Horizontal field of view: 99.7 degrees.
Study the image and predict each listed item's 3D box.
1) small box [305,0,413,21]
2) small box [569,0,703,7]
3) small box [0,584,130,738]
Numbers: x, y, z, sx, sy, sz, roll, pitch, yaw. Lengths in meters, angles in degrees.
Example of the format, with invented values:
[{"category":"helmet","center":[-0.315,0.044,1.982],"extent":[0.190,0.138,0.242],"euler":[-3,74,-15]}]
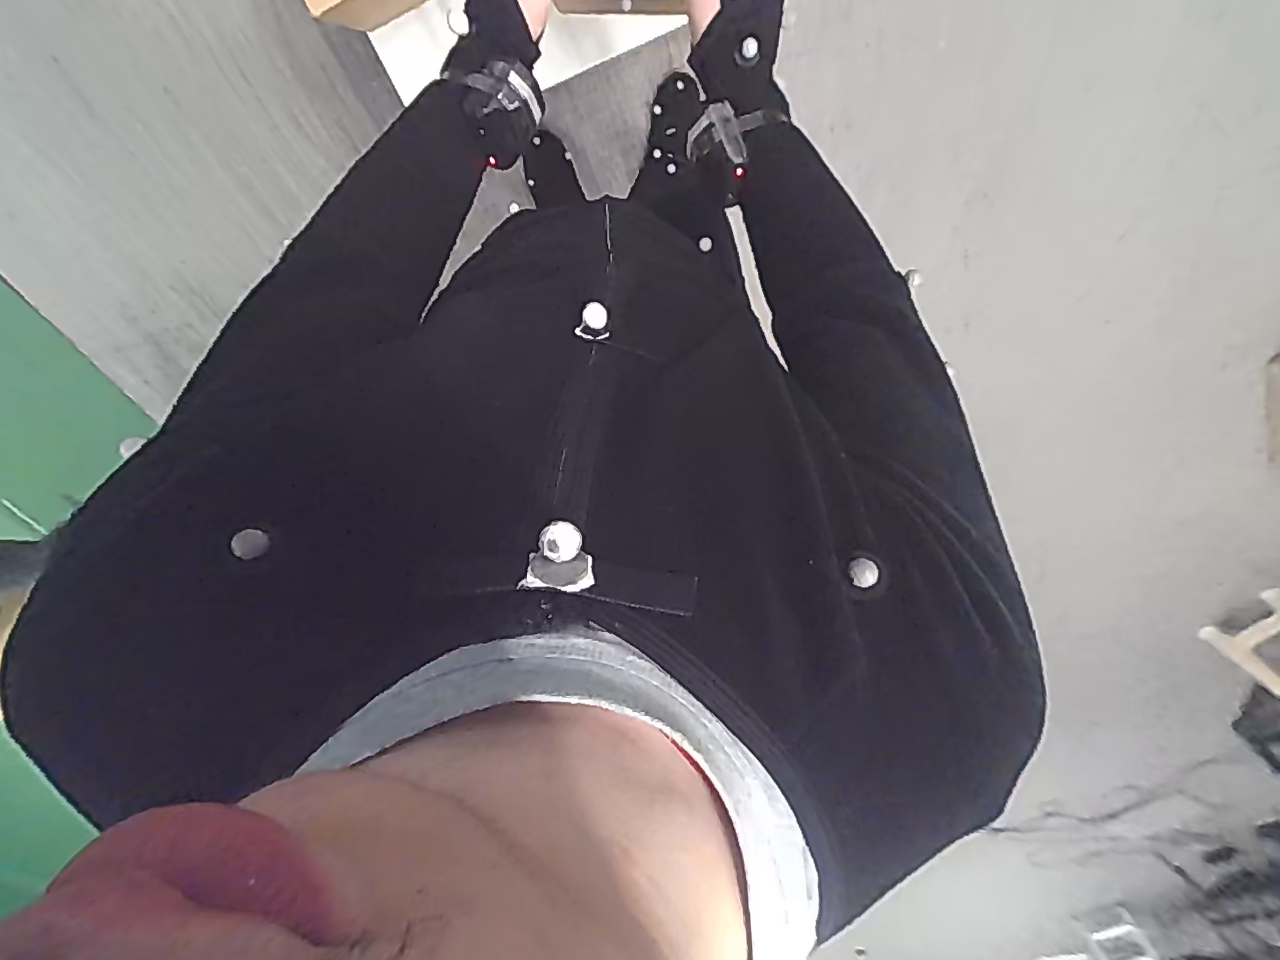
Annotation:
[{"category":"small box","center":[-0.266,-0.578,0.512],"extent":[0.179,0.176,0.168],"euler":[-20,124,9]},{"category":"small box","center":[0.000,-0.540,0.468],"extent":[0.179,0.176,0.168],"euler":[1,119,1]},{"category":"small box","center":[-1.034,0.294,0.897],"extent":[0.168,0.176,0.179],"euler":[-18,125,8]}]
